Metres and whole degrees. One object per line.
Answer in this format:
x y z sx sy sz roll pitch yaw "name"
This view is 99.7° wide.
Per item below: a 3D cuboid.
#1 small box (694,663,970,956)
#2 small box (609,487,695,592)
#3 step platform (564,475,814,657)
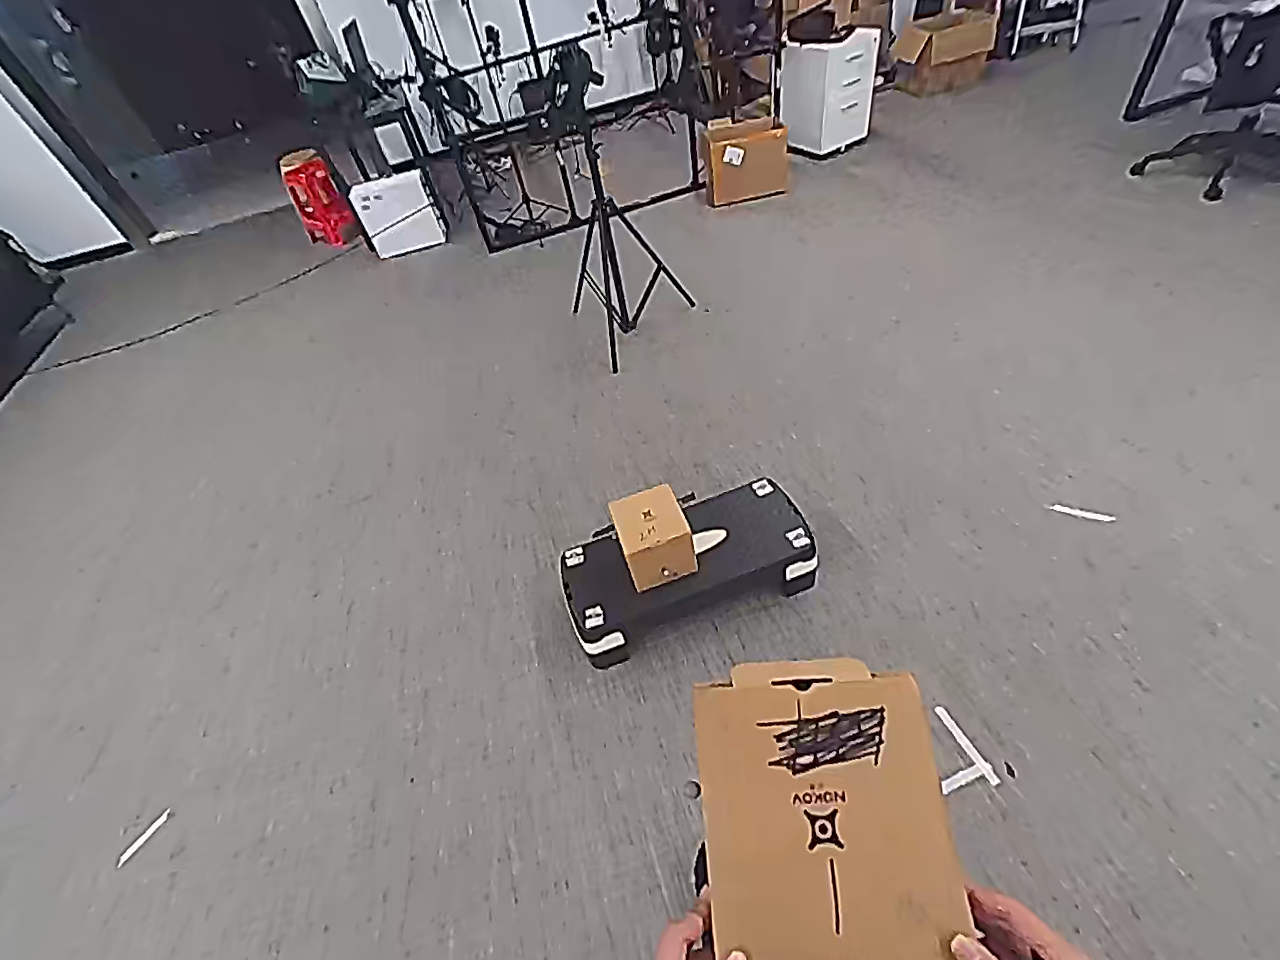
0.132 0.254 0.451 0.168 0.176 0.179 -4 68 5 "small box"
0.031 0.152 1.377 0.168 0.176 0.179 -19 47 -4 "small box"
0.132 0.230 1.522 0.684 0.204 0.286 -20 46 -6 "step platform"
